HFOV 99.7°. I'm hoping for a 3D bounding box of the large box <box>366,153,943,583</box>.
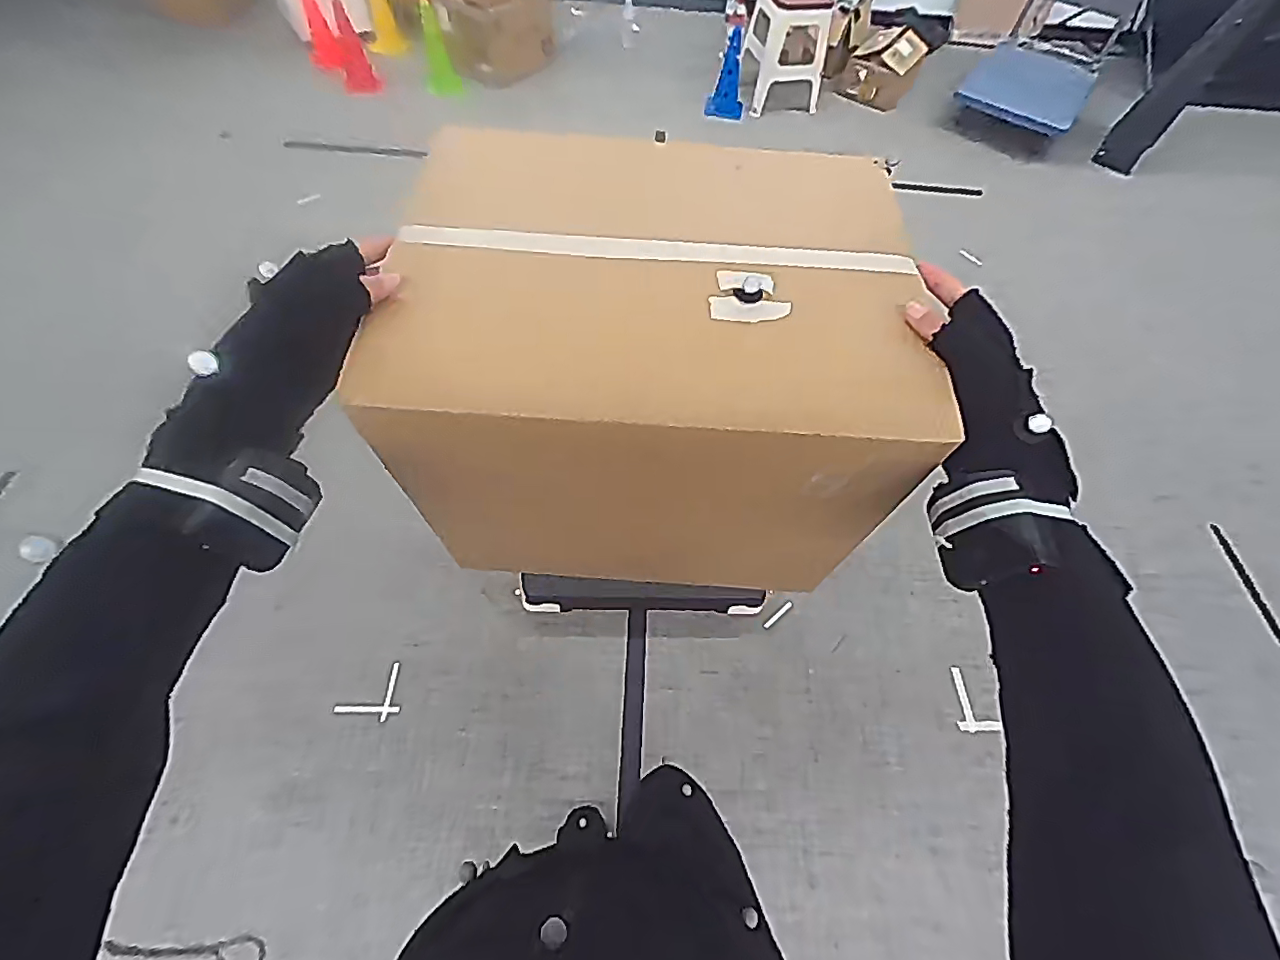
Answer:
[{"bbox_3d":[0.009,-0.094,0.567,0.408,0.320,0.320,4,61,-1],"label":"large box"}]
